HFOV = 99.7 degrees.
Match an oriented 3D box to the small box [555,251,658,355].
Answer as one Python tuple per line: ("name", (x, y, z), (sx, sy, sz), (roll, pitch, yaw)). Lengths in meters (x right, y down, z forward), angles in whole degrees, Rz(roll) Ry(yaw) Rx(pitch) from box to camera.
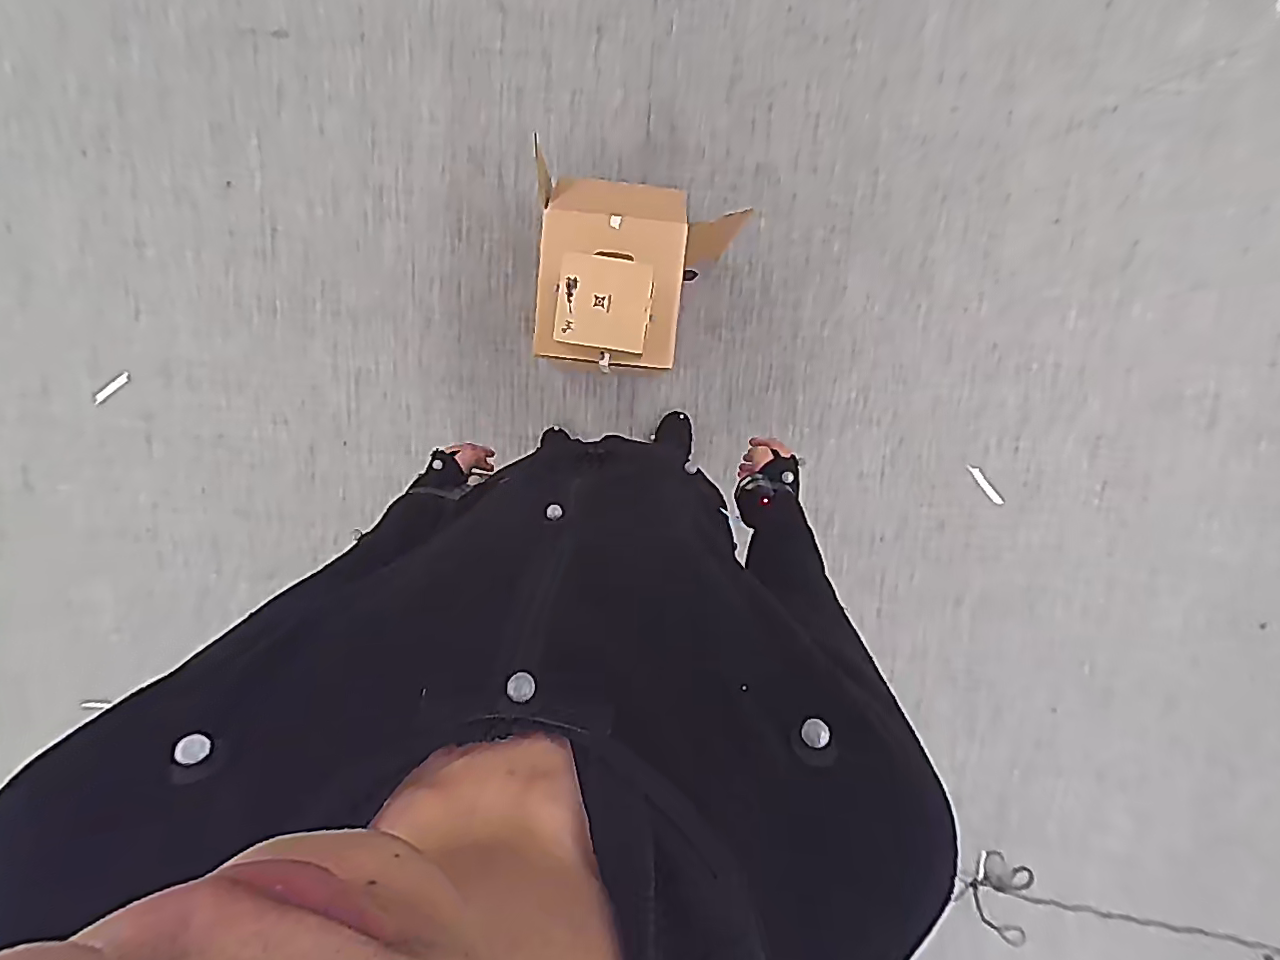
("small box", (-0.066, -0.352, 1.104), (0.179, 0.176, 0.168), (9, 100, -2))
